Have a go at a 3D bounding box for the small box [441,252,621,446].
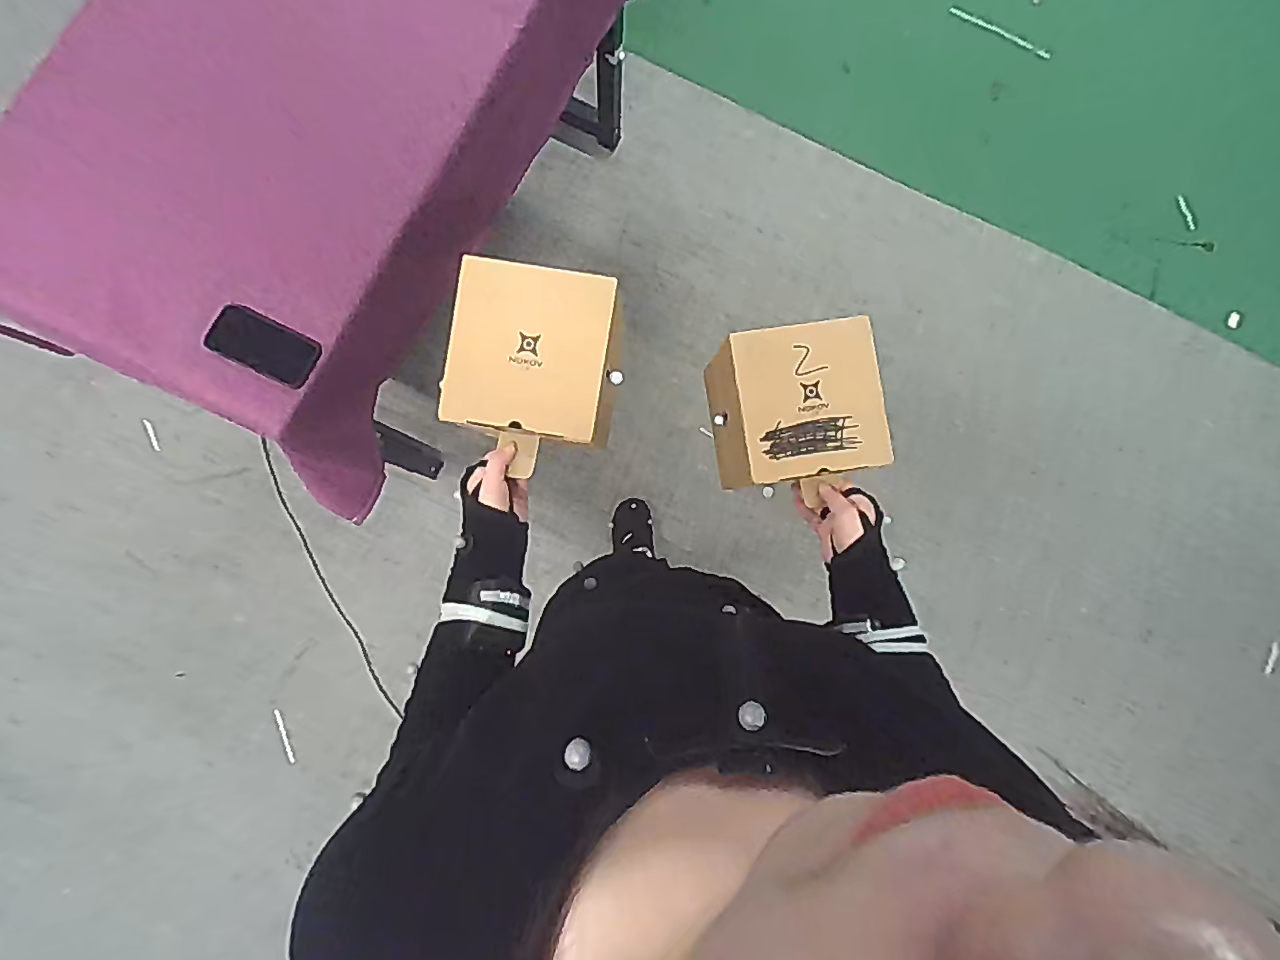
[{"bbox_3d":[-0.117,-0.143,0.649,0.168,0.176,0.179,9,91,1],"label":"small box"}]
